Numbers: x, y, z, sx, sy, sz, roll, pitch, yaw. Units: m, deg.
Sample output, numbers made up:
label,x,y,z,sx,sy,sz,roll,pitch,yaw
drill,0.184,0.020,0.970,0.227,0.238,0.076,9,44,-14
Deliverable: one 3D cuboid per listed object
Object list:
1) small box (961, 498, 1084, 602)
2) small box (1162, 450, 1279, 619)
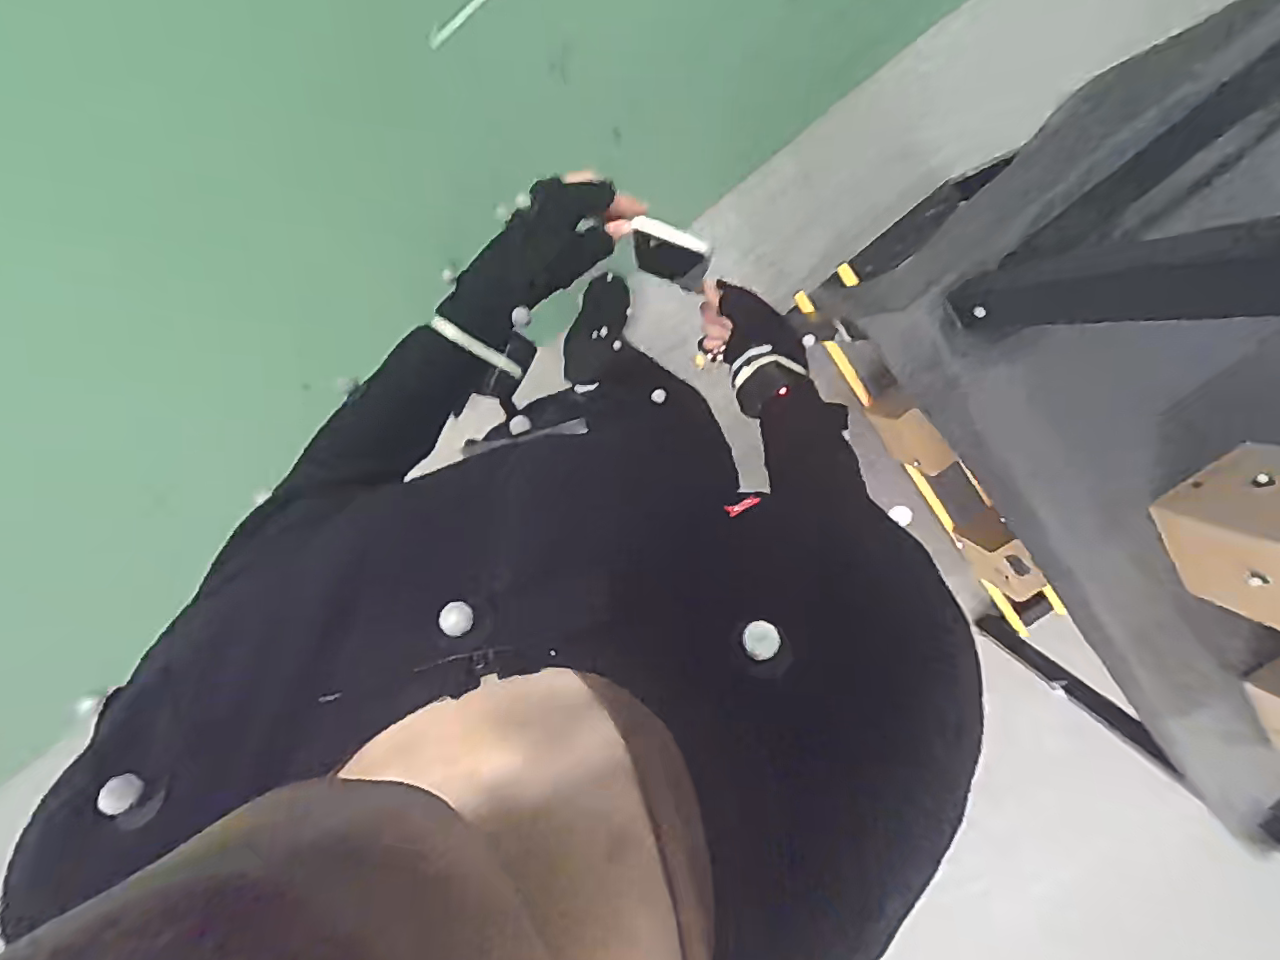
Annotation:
label,x,y,z,sx,sy,sz,roll,pitch,yaw
small box,0.965,0.173,1.388,0.179,0.176,0.168,-35,103,5
small box,0.863,0.075,0.715,0.168,0.176,0.179,-36,103,5
